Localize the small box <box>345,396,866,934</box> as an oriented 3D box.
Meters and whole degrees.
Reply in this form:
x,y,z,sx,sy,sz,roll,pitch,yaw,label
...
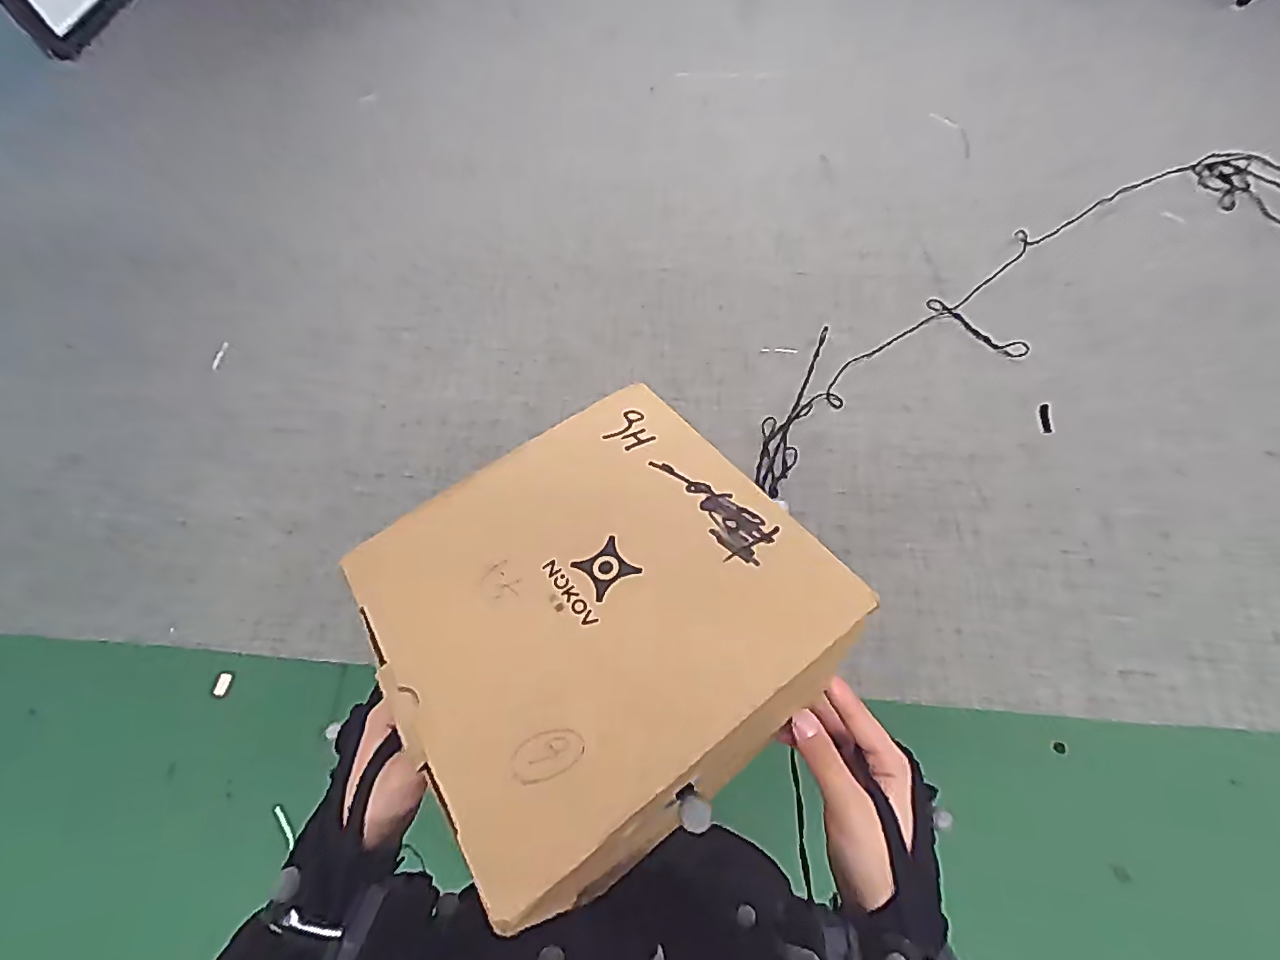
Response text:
x,y,z,sx,sy,sz,roll,pitch,yaw,label
-0.014,0.095,0.295,0.179,0.176,0.168,-33,57,-16,small box
